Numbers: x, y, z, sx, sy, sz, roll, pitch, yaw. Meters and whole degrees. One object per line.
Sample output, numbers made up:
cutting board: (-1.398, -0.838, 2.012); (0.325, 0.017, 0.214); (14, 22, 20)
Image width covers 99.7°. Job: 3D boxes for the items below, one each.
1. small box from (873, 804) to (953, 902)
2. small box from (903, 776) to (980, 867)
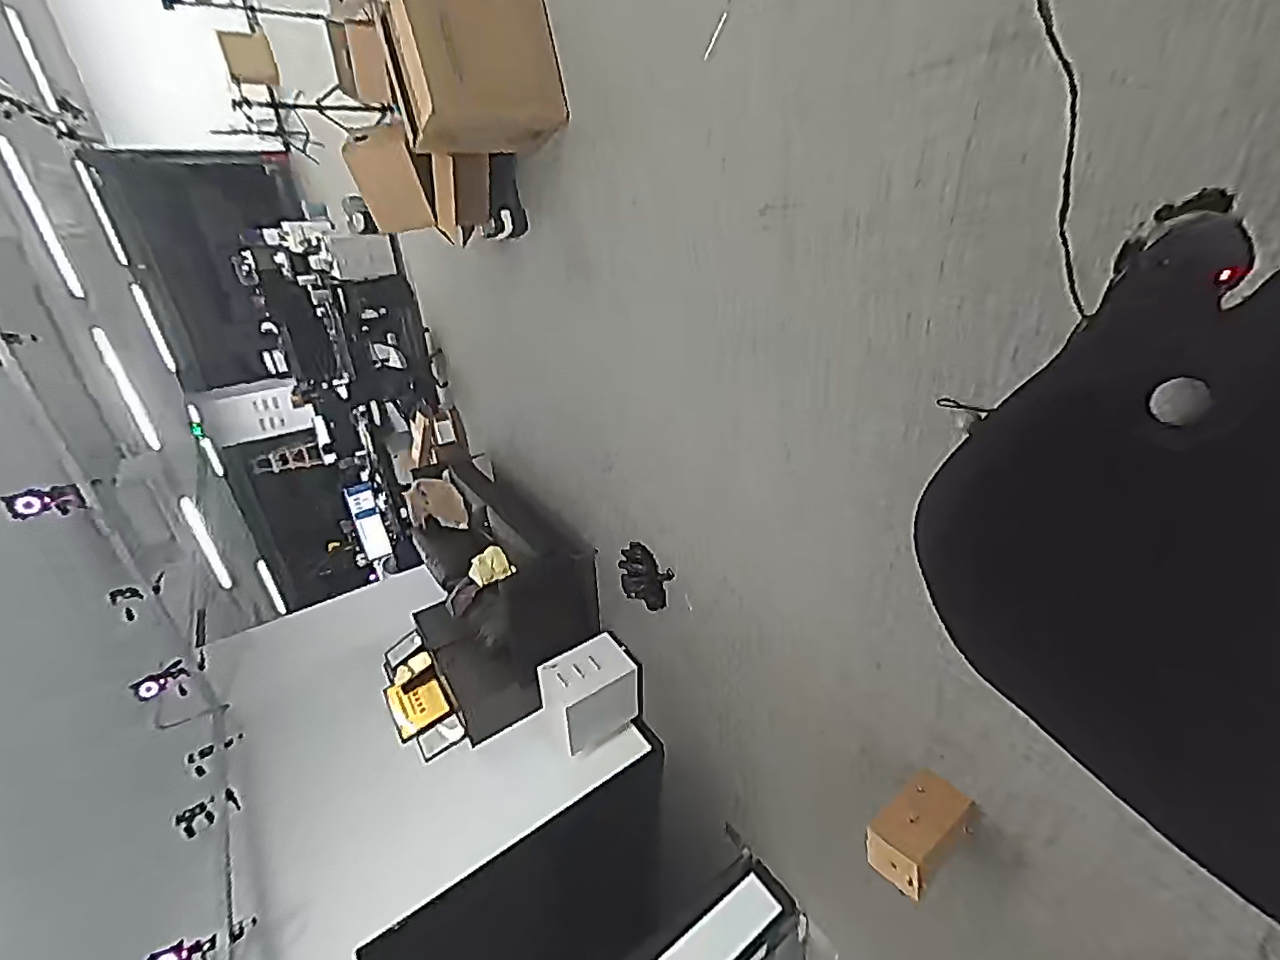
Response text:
small box: (0.889, 1.199, 1.760); (0.179, 0.176, 0.168); (14, 118, 55)
small box: (1.022, 1.148, 1.837); (0.179, 0.176, 0.168); (17, 122, 53)
